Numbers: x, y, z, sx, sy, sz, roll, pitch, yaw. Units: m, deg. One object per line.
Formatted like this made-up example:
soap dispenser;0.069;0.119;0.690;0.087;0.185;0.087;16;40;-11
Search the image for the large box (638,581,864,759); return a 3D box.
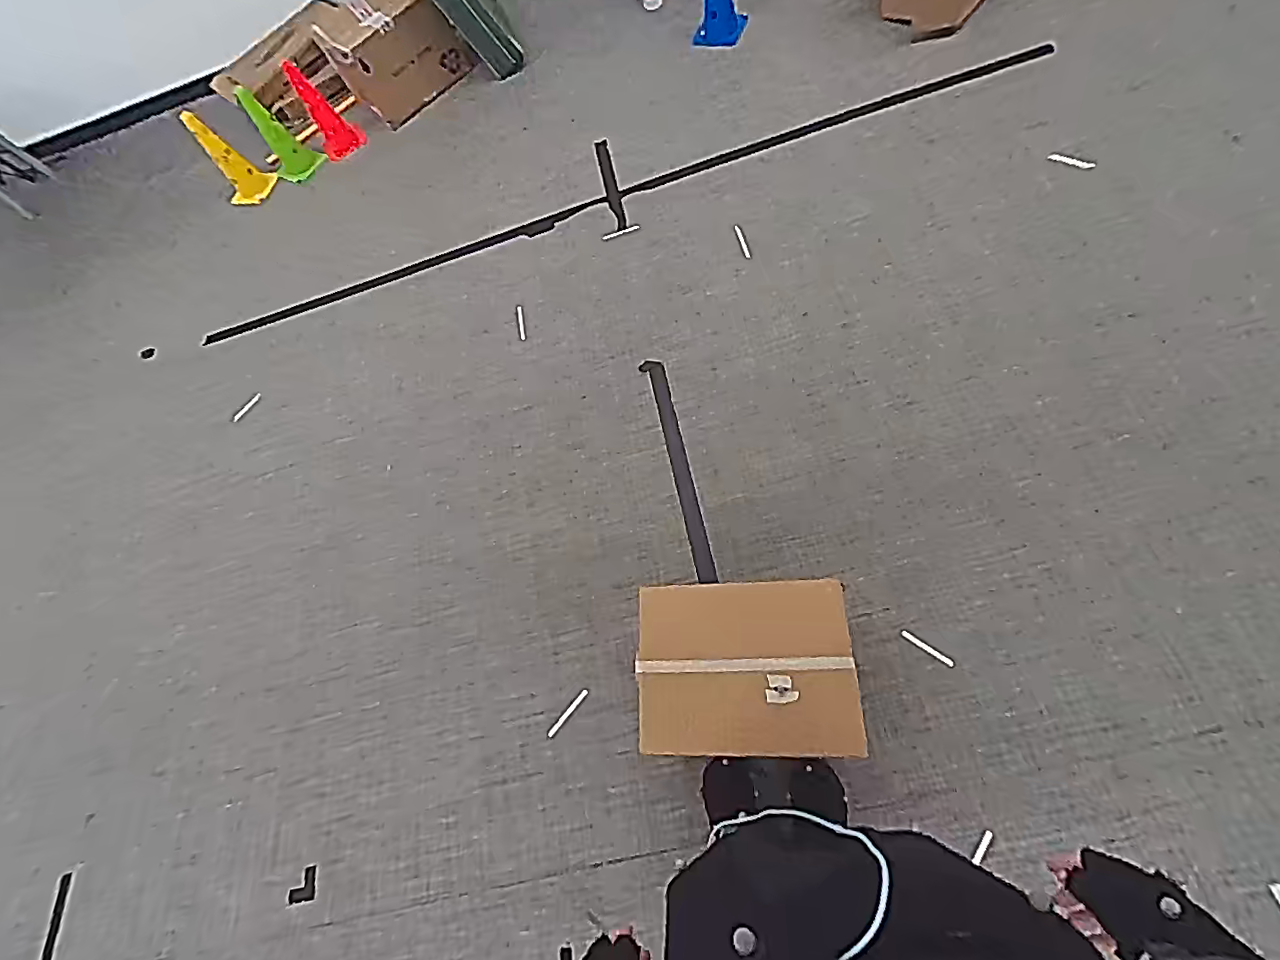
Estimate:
large box;0.219;0.411;1.157;0.408;0.320;0.320;-4;67;10
